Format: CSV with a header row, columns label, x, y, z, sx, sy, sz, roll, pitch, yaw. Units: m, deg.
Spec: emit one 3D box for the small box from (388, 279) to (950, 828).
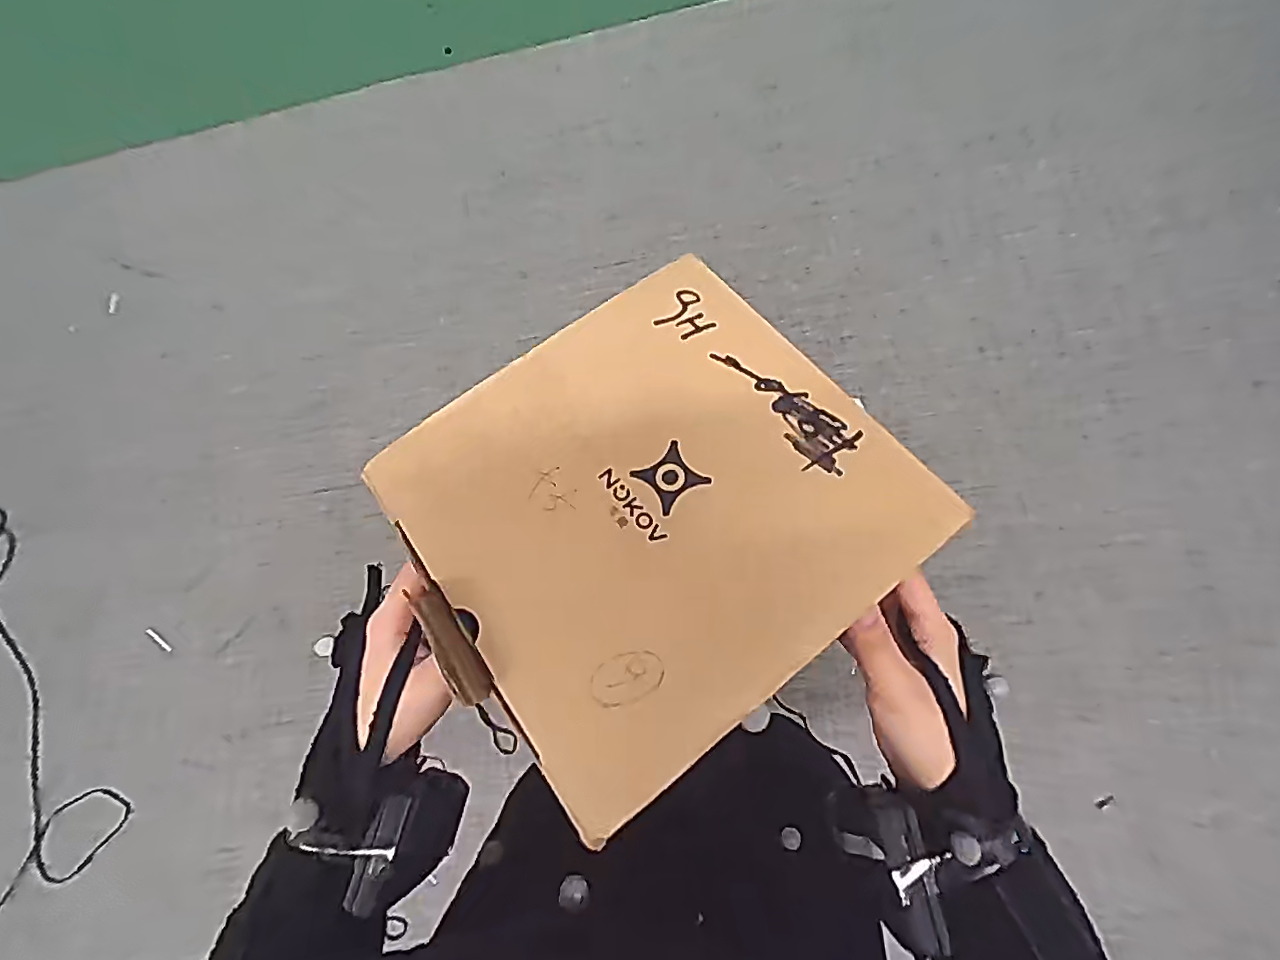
label,x,y,z,sx,sy,sz,roll,pitch,yaw
small box,0.012,0.040,0.294,0.179,0.176,0.168,-37,71,-10
